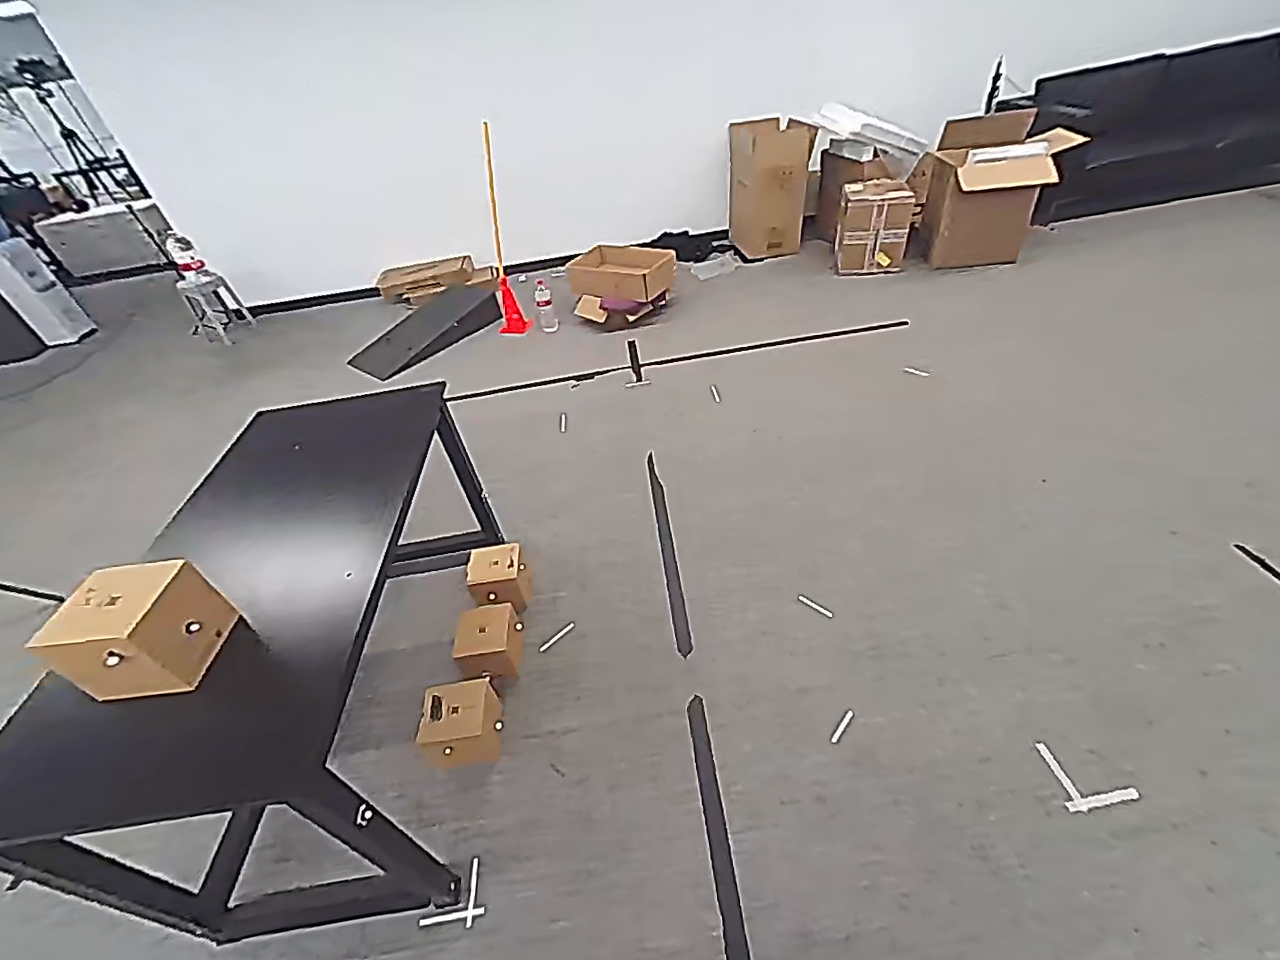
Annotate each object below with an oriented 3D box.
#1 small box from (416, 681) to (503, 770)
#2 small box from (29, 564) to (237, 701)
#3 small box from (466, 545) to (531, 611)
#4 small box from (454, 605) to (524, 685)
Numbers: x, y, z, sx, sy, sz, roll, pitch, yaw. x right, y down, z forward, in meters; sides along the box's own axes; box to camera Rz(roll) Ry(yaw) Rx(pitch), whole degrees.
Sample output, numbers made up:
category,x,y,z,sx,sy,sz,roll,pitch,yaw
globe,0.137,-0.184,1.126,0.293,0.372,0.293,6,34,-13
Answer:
category,x,y,z,sx,sy,sz,roll,pitch,yaw
small box,-0.502,0.697,1.530,0.179,0.176,0.168,-9,41,-1
small box,-0.883,0.274,0.969,0.179,0.176,0.168,-8,40,3
small box,-0.498,0.360,1.923,0.179,0.176,0.168,-10,41,0
small box,-0.474,0.529,1.723,0.168,0.176,0.179,-11,40,0
